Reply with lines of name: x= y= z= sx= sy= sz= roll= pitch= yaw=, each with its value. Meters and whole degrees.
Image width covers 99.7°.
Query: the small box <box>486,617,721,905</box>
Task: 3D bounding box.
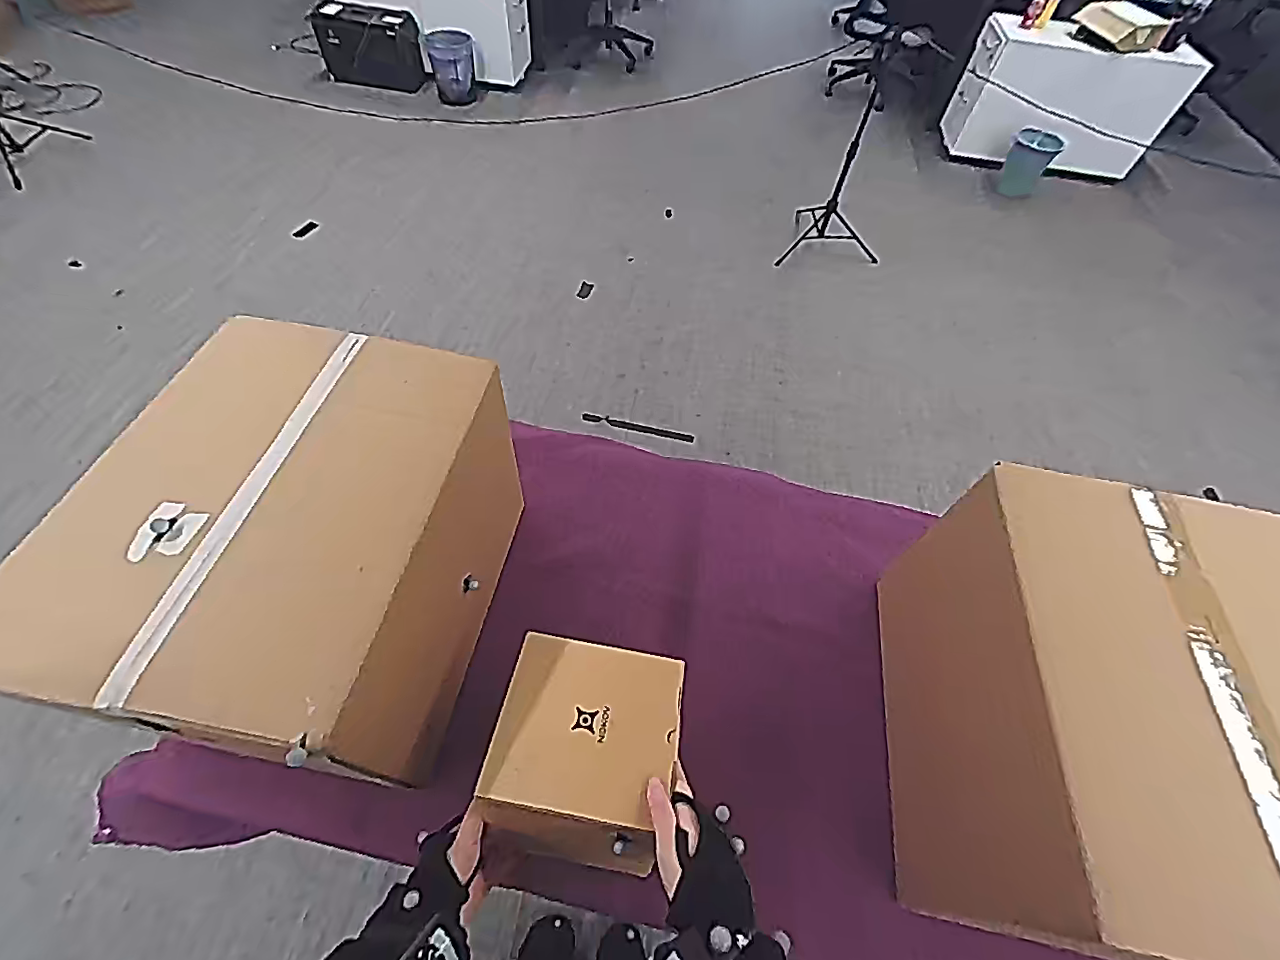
small box: x=-0.034 y=0.273 z=0.545 sx=0.168 sy=0.176 sz=0.179 roll=24 pitch=24 yaw=-11
